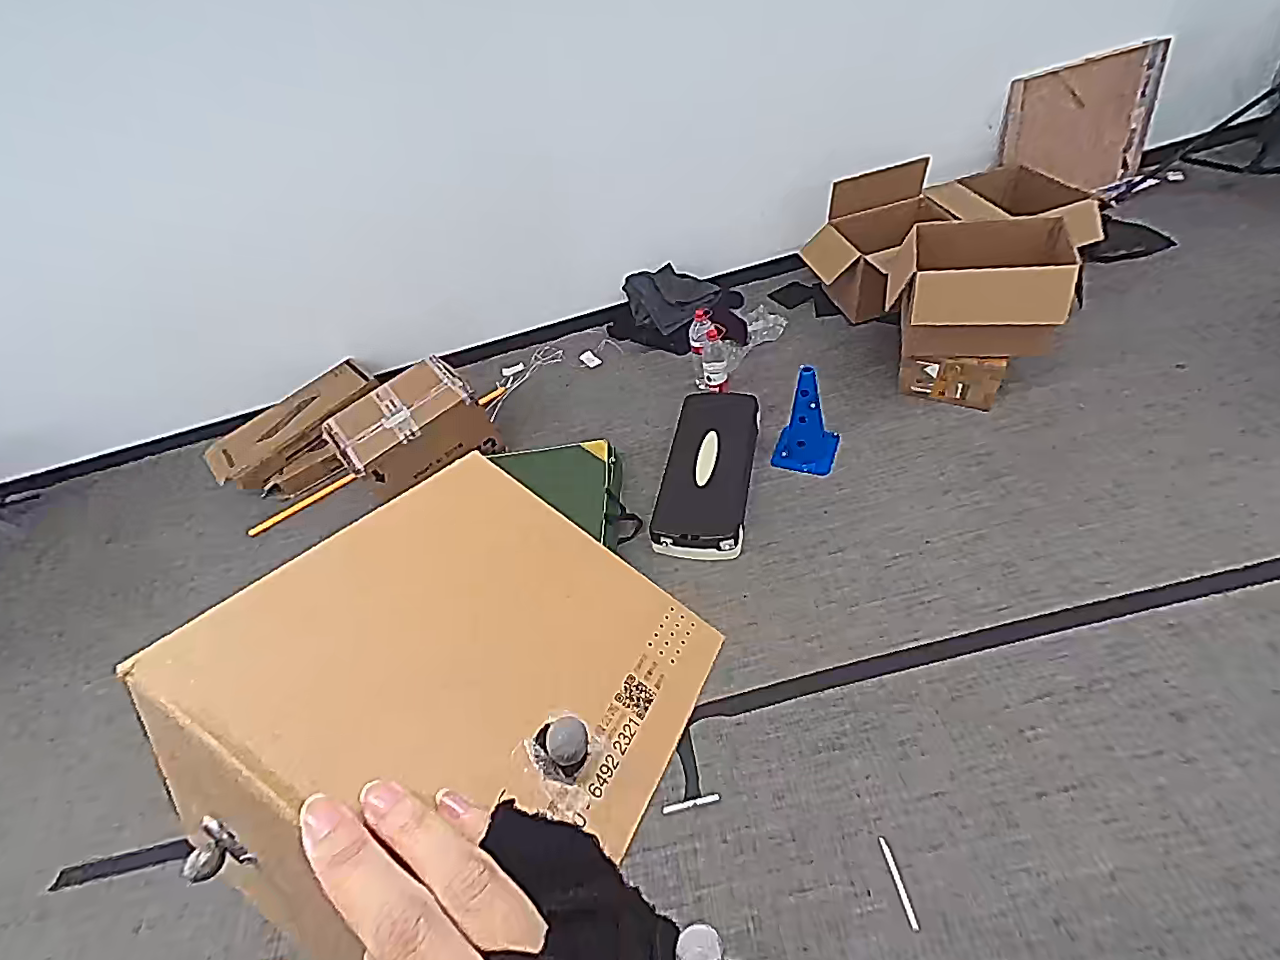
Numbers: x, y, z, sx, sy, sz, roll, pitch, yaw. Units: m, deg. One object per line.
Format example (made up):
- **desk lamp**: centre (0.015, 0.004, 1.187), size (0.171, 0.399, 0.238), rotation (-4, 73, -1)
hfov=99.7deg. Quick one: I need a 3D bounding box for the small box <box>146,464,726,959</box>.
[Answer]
- **small box**: centre (-0.086, 0.131, 0.273), size (0.176, 0.179, 0.168), rotation (36, 39, 6)
